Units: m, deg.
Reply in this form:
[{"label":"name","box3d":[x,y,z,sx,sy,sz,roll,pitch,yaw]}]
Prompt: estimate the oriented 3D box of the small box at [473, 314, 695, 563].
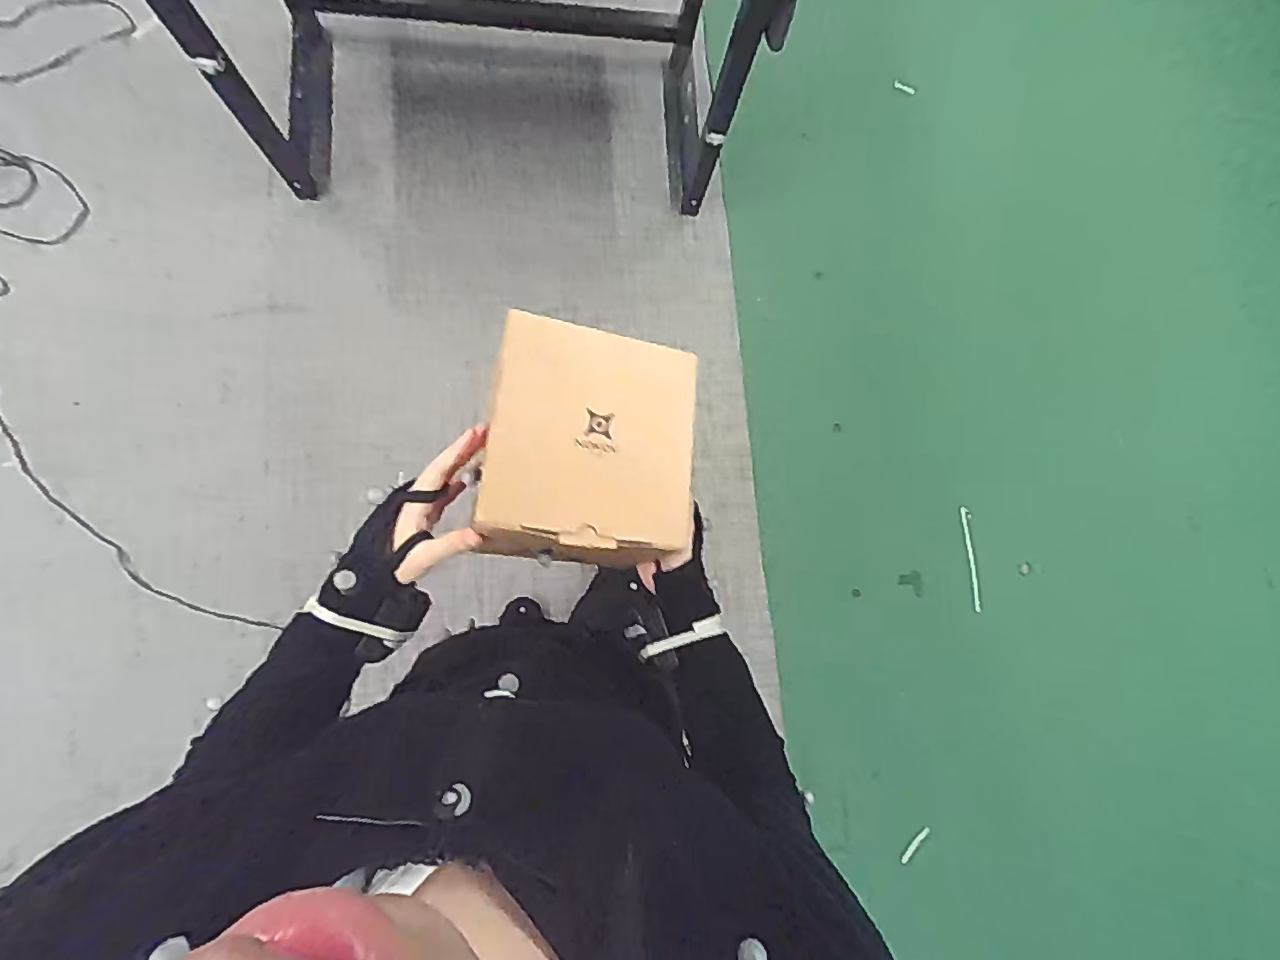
[{"label":"small box","box3d":[-0.060,-0.022,0.512,0.168,0.176,0.179,9,75,-19]}]
